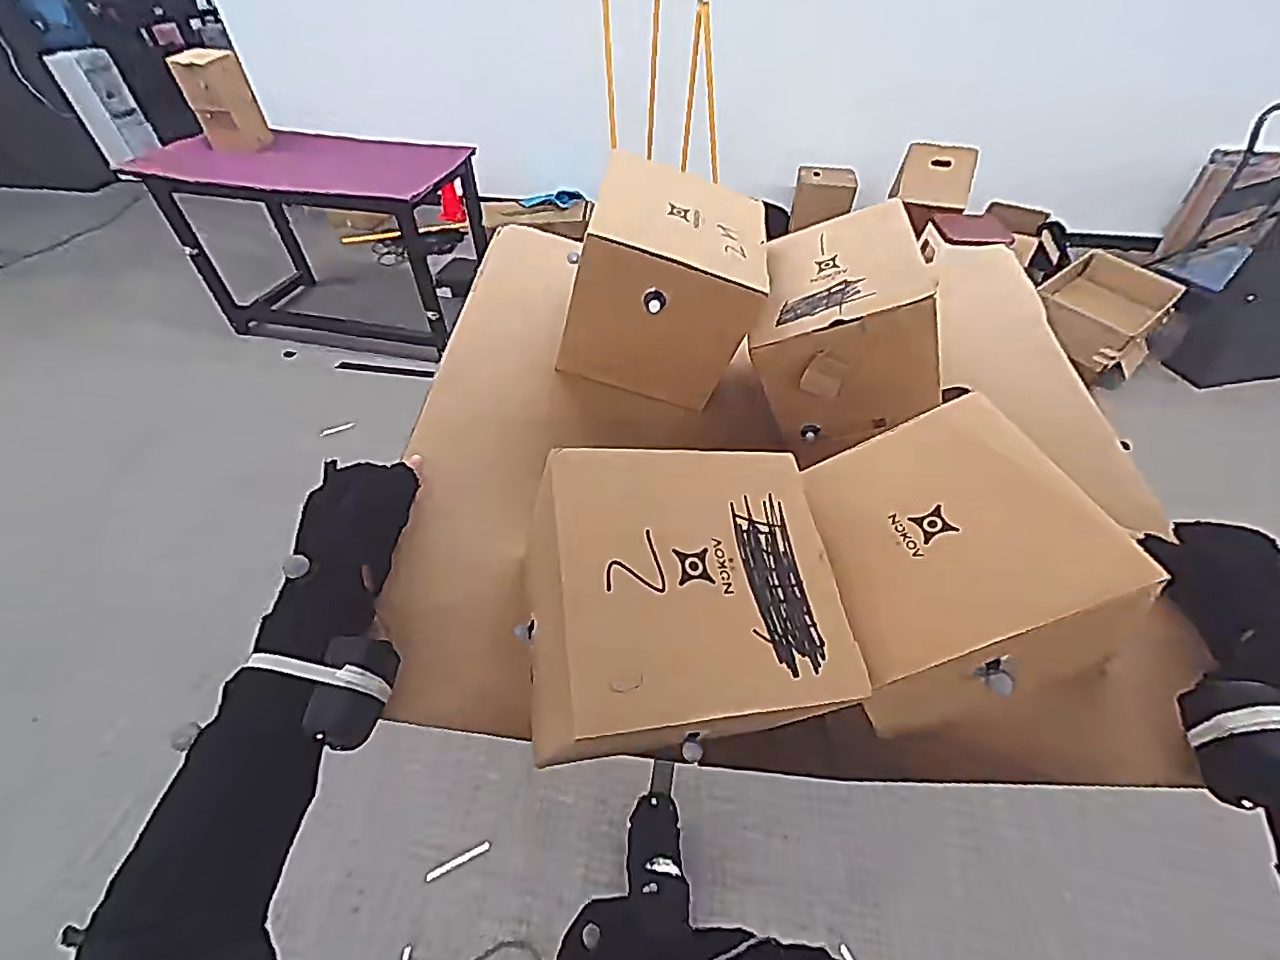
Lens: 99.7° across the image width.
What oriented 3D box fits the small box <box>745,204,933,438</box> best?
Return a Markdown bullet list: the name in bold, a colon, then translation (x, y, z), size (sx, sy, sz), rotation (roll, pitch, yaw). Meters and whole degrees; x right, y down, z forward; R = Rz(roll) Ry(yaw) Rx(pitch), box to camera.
- **small box**: translation (0.223, -0.164, 0.612), size (0.168, 0.176, 0.179), rotation (-11, 49, 24)
